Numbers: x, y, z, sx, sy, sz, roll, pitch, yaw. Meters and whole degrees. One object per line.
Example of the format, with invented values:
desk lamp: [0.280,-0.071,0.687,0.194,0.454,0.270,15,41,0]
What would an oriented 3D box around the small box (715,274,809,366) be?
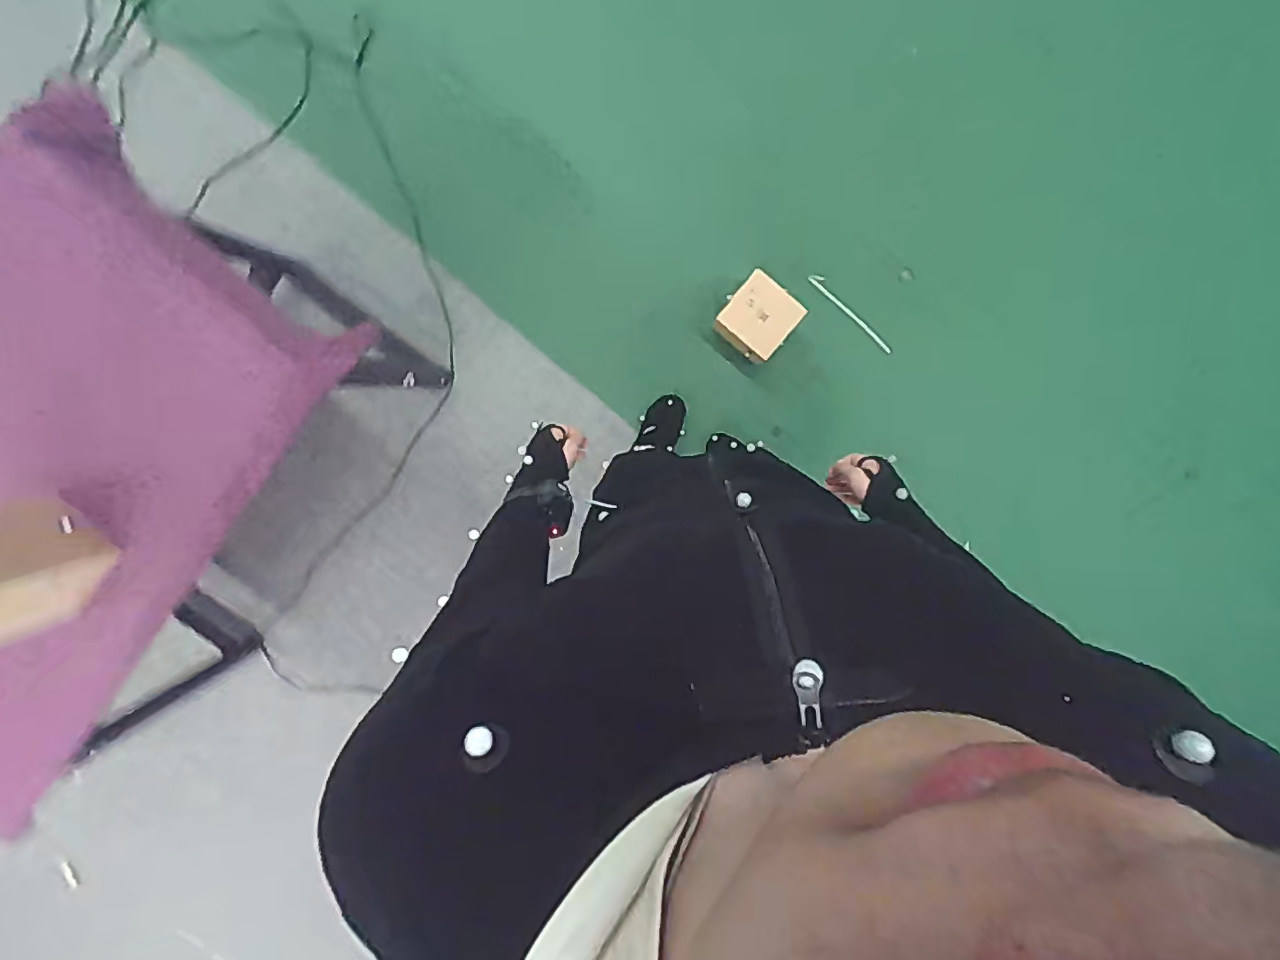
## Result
small box: [0.324,-0.428,1.475,0.179,0.176,0.168,41,98,-2]
